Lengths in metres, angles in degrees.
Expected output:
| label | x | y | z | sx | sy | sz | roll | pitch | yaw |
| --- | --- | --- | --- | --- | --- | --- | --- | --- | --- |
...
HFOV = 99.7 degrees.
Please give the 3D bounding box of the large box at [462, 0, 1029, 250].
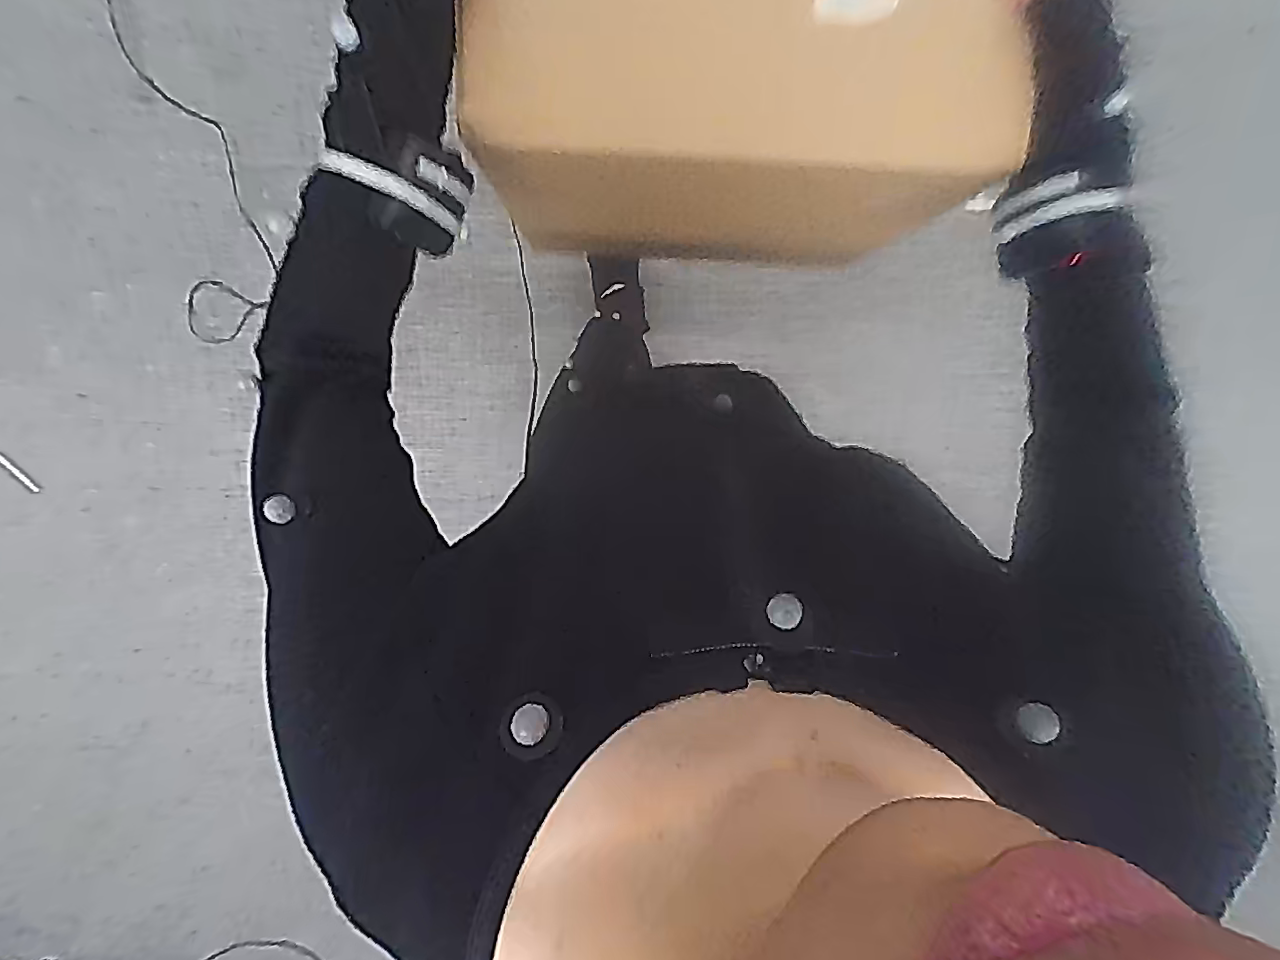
| label | x | y | z | sx | sy | sz | roll | pitch | yaw |
| --- | --- | --- | --- | --- | --- | --- | --- | --- | --- |
| large box | 0.071 | -0.422 | 0.511 | 0.408 | 0.320 | 0.320 | 2 | 100 | -3 |
